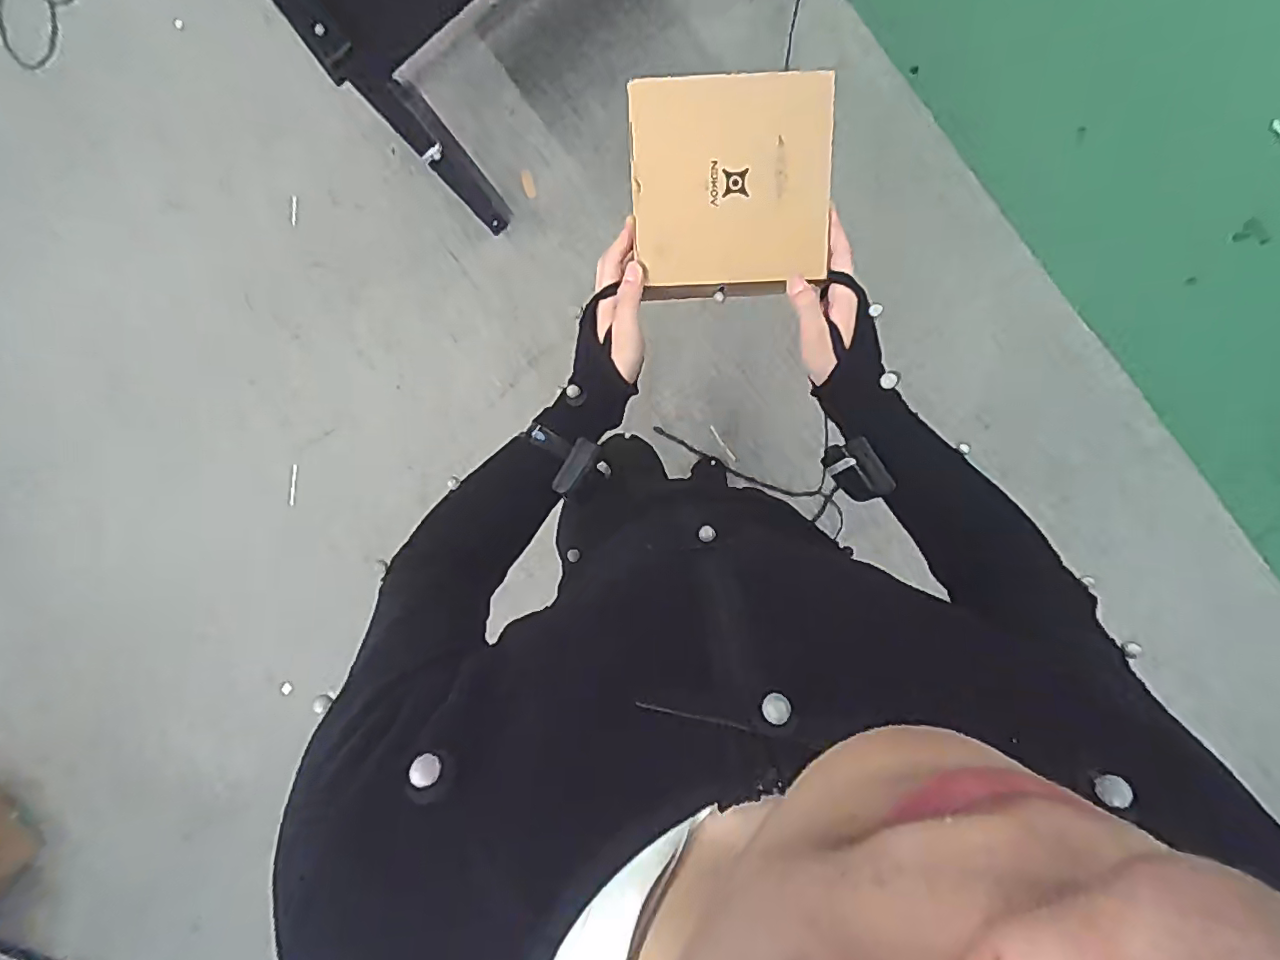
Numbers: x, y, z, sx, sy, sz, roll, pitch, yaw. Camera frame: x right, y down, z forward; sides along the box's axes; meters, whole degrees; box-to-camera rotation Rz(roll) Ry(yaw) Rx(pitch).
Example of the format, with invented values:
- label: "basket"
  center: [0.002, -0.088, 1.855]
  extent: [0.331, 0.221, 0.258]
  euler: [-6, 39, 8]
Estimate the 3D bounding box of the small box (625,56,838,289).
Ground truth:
- label: "small box"
  center: [0.078, -0.286, 0.541]
  extent: [0.179, 0.176, 0.168]
  euler: [-1, 105, 1]
